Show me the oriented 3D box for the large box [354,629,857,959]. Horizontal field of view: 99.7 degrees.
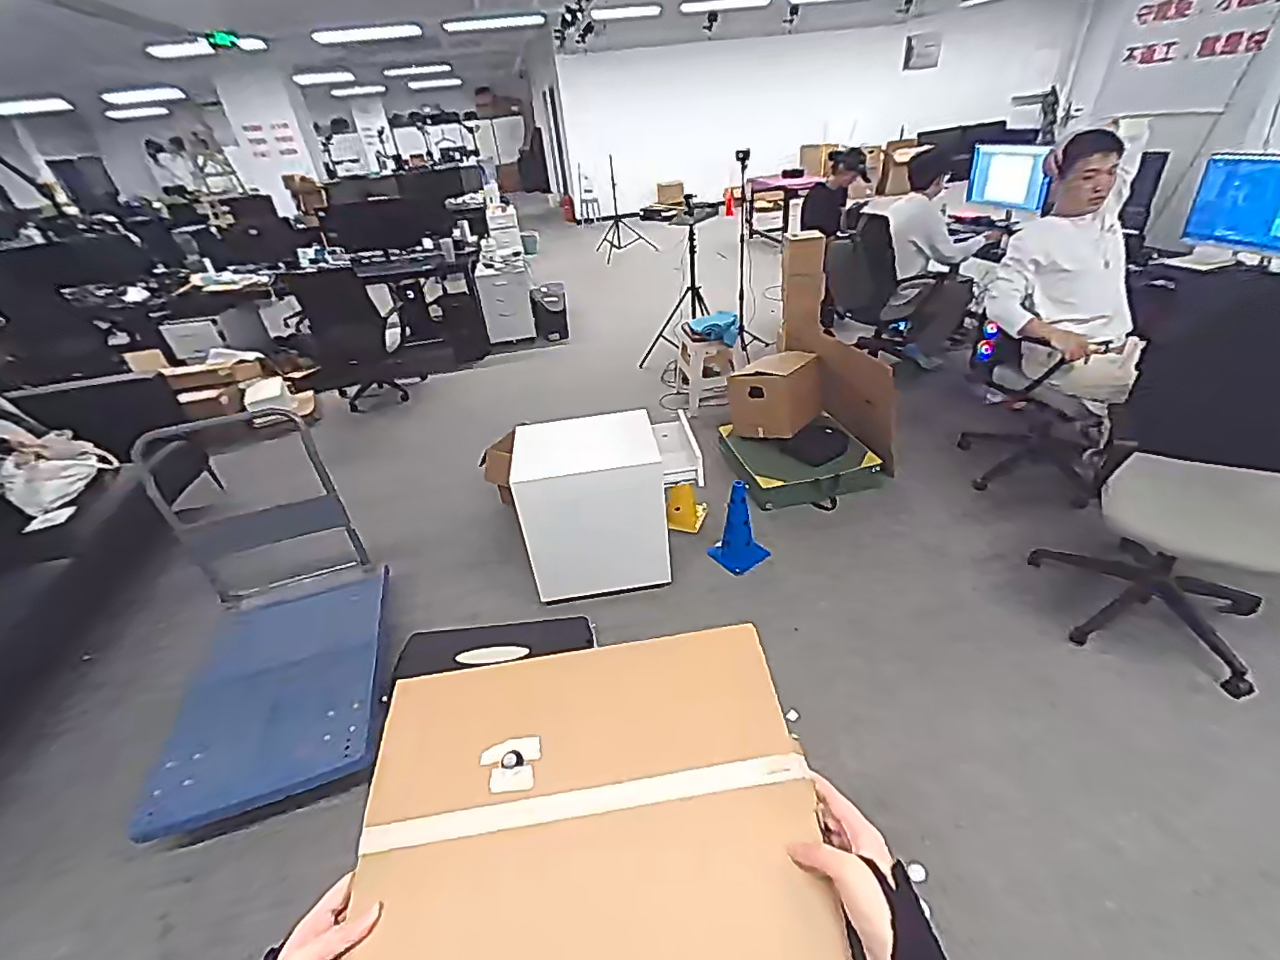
[{"bbox_3d":[-0.030,0.413,0.604,0.408,0.320,0.320,-11,42,0],"label":"large box"}]
